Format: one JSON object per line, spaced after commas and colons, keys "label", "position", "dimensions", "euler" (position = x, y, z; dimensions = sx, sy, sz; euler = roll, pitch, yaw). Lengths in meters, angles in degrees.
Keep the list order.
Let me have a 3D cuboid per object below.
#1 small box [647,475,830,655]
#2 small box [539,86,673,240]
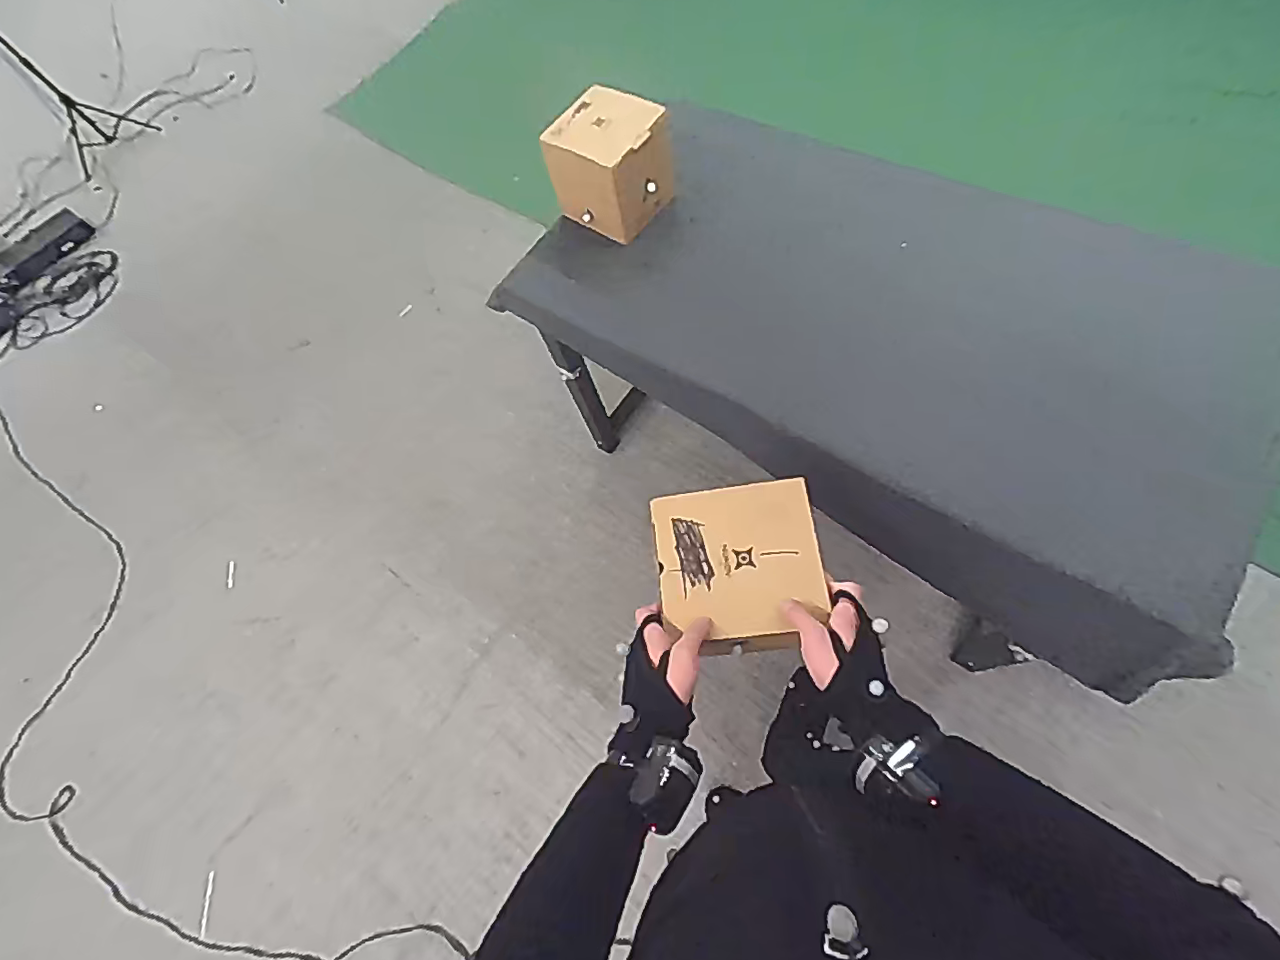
{"label": "small box", "position": [0.113, 0.111, 0.646], "dimensions": [0.179, 0.176, 0.168], "euler": [-8, 66, 8]}
{"label": "small box", "position": [-0.054, -0.591, 1.025], "dimensions": [0.179, 0.176, 0.168], "euler": [34, 76, 20]}
